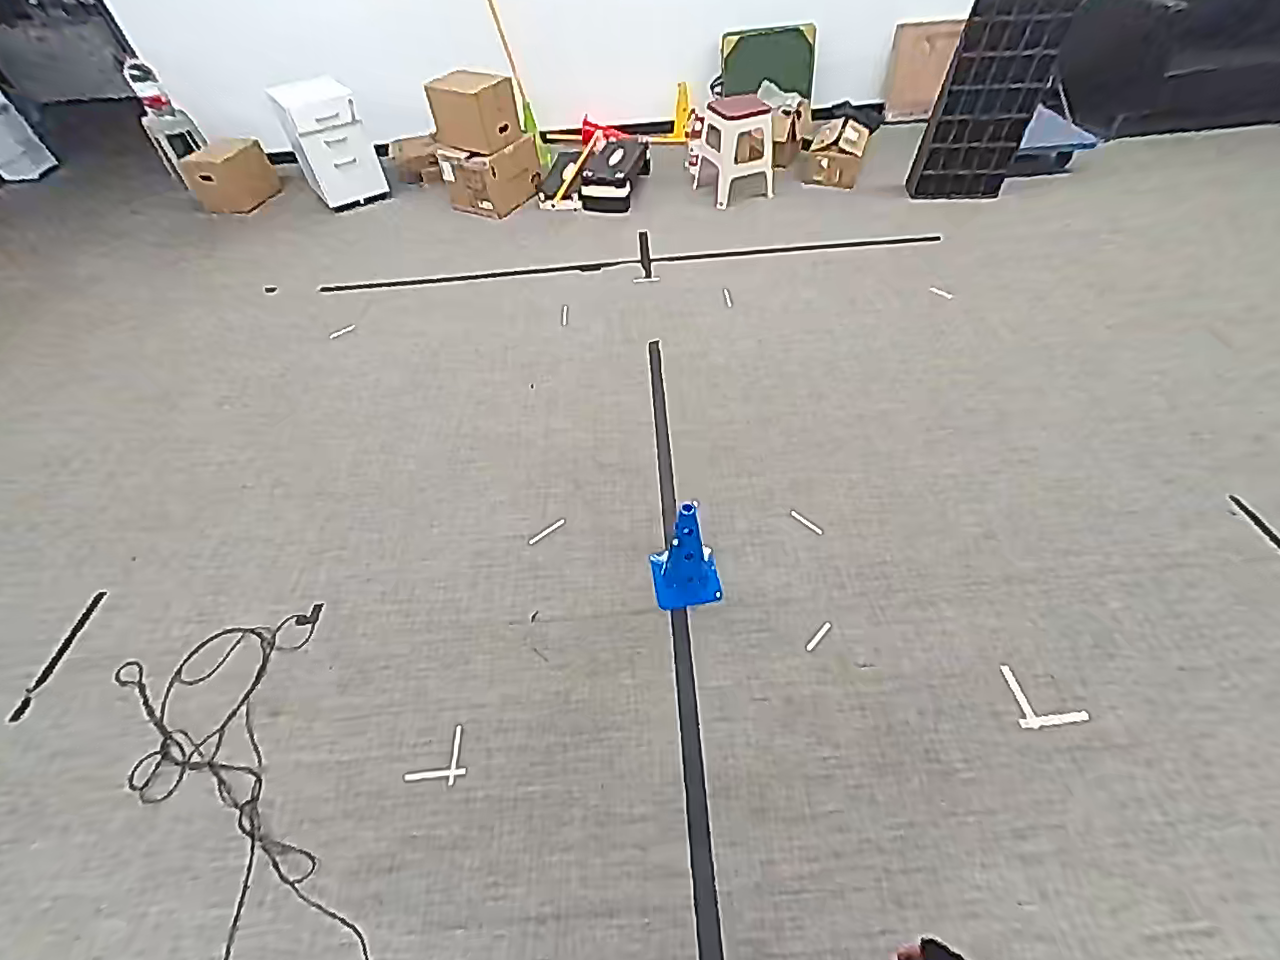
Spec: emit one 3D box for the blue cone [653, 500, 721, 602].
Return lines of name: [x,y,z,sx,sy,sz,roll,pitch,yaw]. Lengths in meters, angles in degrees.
blue cone: [0.135,0.184,1.548,0.192,0.380,0.193,-6,50,-3]
